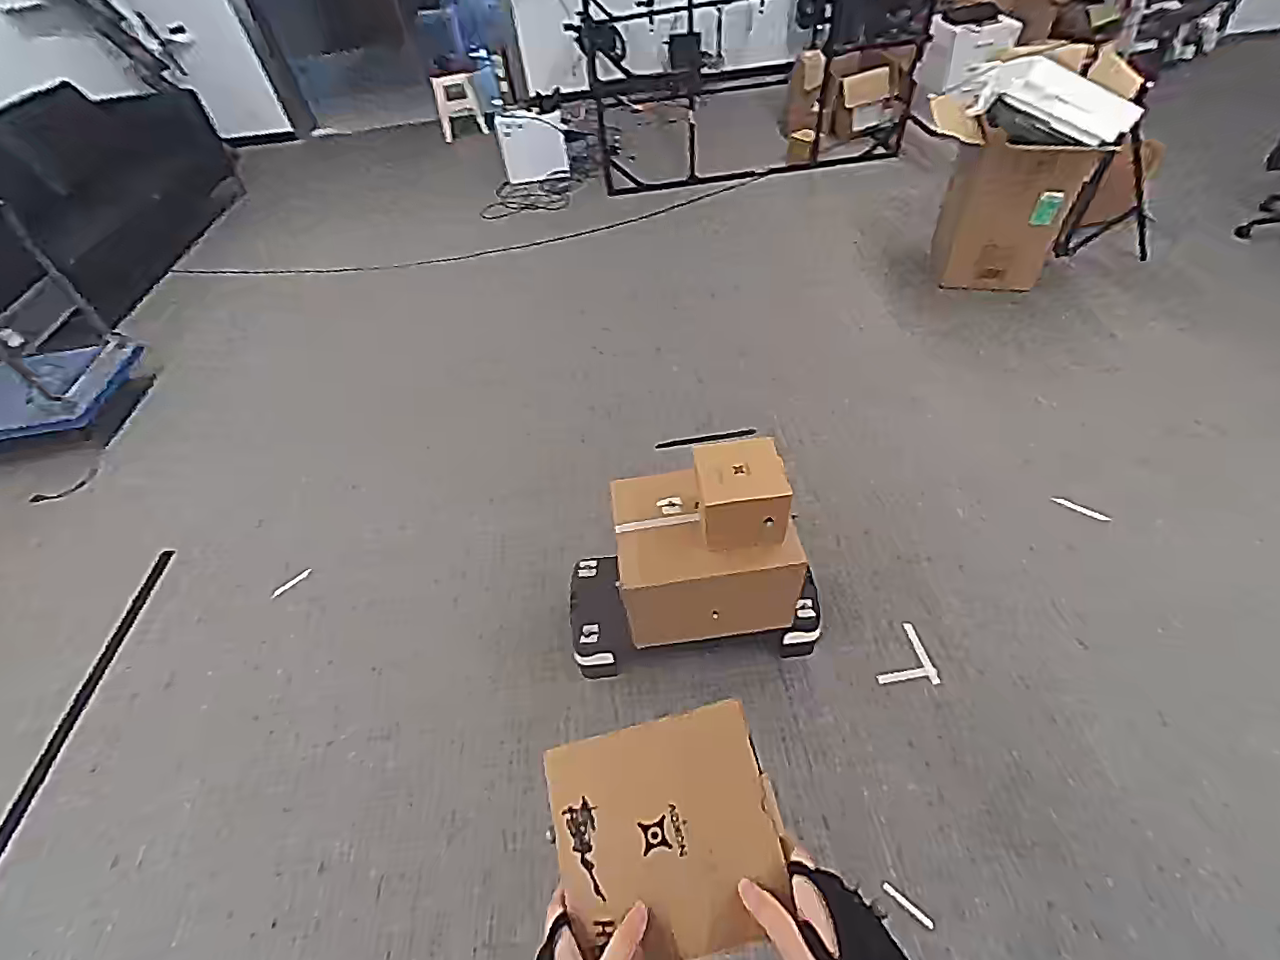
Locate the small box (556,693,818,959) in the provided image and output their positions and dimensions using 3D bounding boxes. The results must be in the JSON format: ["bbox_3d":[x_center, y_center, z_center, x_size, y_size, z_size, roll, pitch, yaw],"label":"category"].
[{"bbox_3d":[0.035,0.302,0.494,0.179,0.176,0.168,-14,64,-1],"label":"small box"}]

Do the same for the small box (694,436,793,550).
[{"bbox_3d":[0.212,0.031,1.155,0.179,0.176,0.168,-7,49,1],"label":"small box"}]

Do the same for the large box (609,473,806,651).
[{"bbox_3d":[0.156,0.194,1.348,0.408,0.320,0.320,-9,48,0],"label":"large box"}]
